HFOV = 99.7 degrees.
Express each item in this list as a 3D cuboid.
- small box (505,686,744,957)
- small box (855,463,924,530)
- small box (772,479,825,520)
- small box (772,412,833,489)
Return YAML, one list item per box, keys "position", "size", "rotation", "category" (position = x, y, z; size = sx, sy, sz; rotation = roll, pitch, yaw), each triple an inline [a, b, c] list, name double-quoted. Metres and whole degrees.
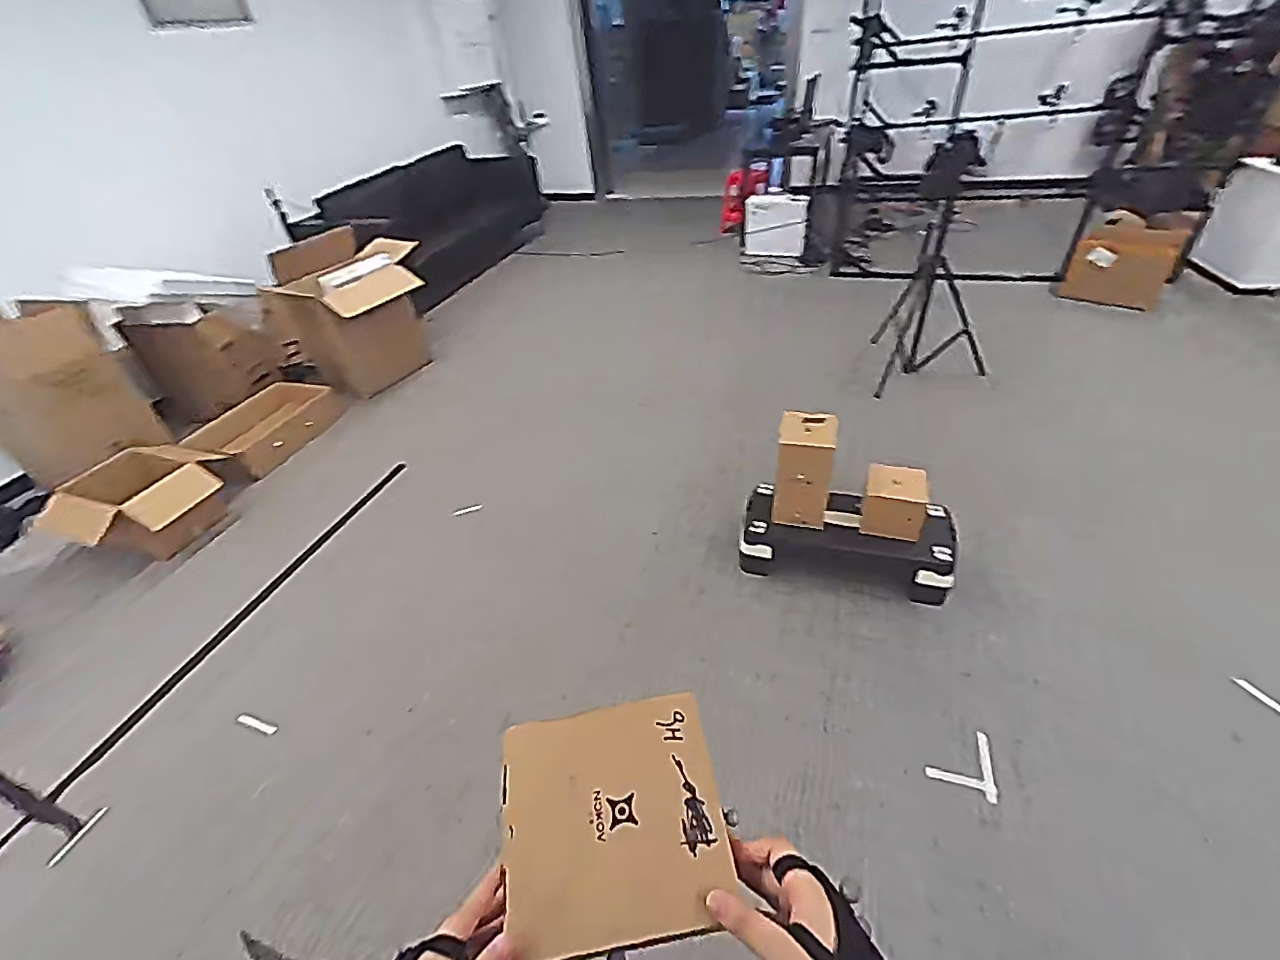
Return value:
- position: [-0.012, 0.312, 0.491]
  size: [0.179, 0.176, 0.168]
  rotation: [-10, 48, -1]
  category: "small box"
- position: [0.797, 0.069, 1.740]
  size: [0.179, 0.176, 0.168]
  rotation: [7, 41, 17]
  category: "small box"
- position: [0.531, 0.034, 1.821]
  size: [0.168, 0.176, 0.179]
  rotation: [7, 41, 17]
  category: "small box"
- position: [0.515, -0.096, 1.721]
  size: [0.168, 0.176, 0.179]
  rotation: [6, 42, 16]
  category: "small box"
